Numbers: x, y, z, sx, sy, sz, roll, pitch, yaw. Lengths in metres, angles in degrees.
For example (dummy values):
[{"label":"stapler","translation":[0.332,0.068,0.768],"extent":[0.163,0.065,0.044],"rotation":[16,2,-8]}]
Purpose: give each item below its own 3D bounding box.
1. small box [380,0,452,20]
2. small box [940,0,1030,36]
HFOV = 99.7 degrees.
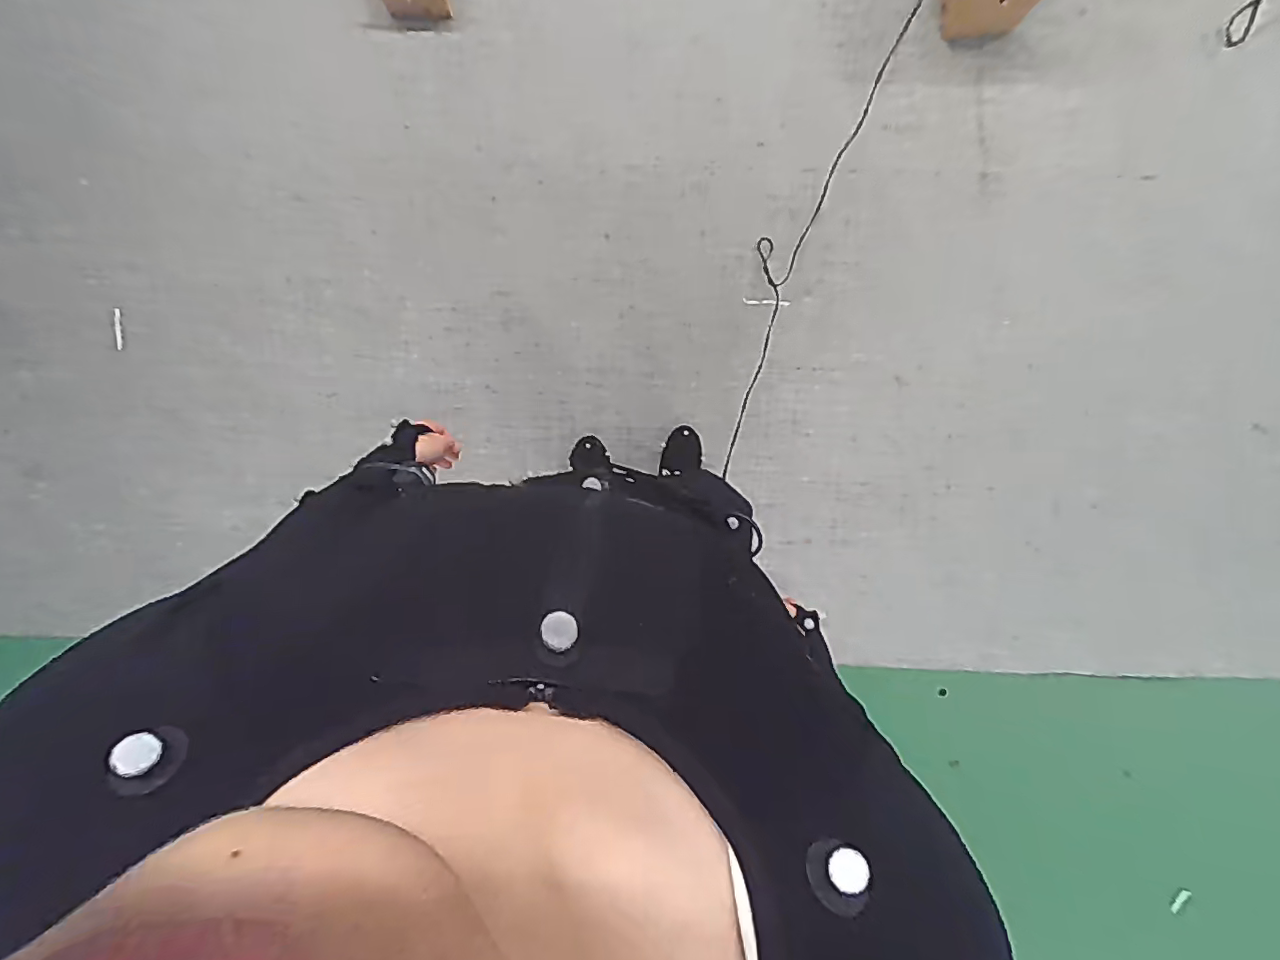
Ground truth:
[{"label":"small box","translation":[-0.557,-1.249,1.290],"extent":[0.168,0.176,0.179],"rotation":[2,96,1]},{"label":"small box","translation":[0.824,-1.184,1.262],"extent":[0.179,0.176,0.168],"rotation":[-6,96,1]}]
